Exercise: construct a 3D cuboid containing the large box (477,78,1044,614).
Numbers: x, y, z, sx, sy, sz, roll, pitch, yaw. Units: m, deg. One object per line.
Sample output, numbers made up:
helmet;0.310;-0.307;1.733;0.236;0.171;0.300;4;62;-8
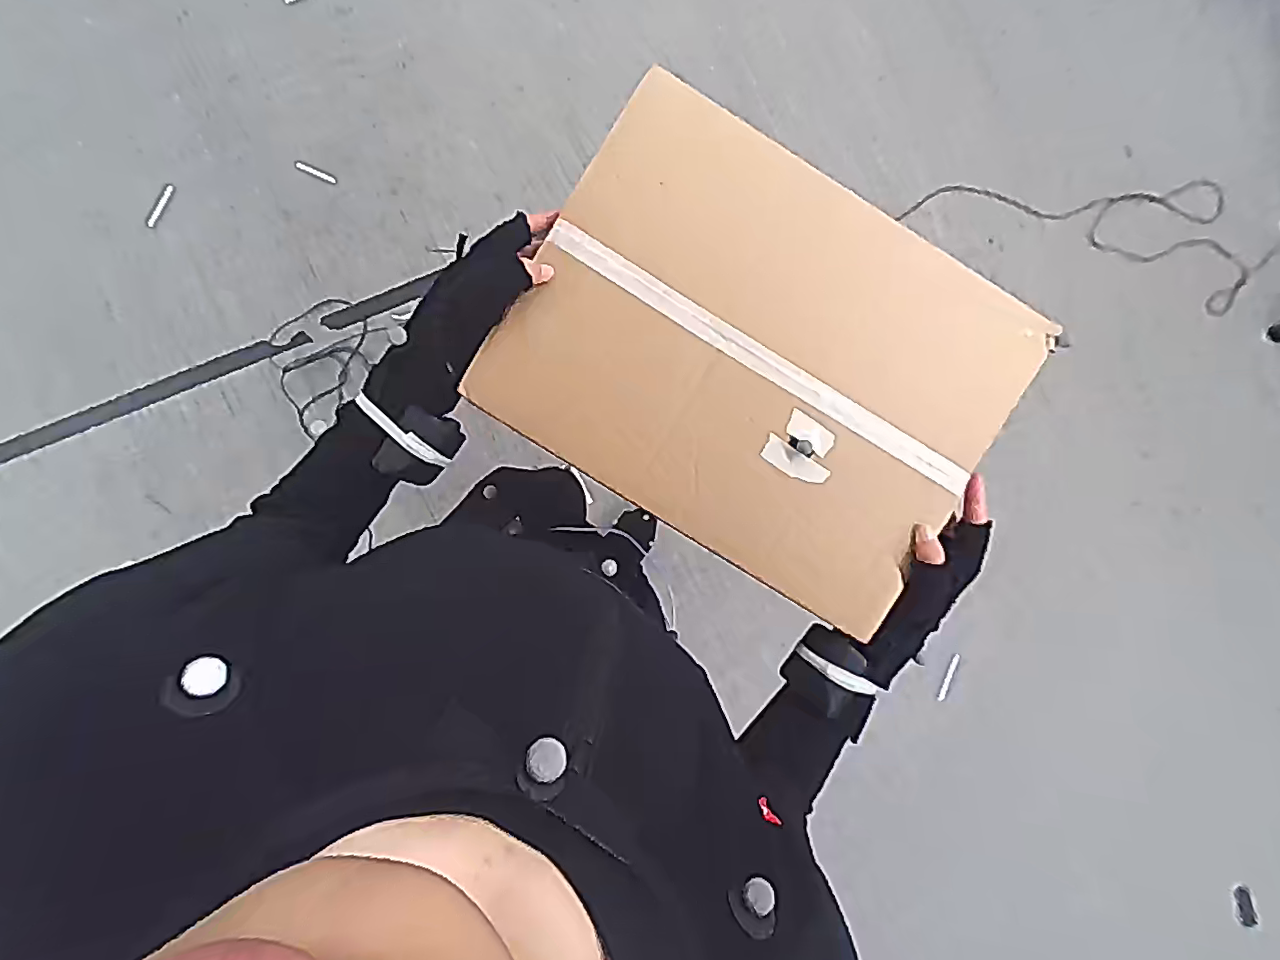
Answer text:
large box;0.100;-0.116;0.611;0.408;0.320;0.320;32;92;-3
